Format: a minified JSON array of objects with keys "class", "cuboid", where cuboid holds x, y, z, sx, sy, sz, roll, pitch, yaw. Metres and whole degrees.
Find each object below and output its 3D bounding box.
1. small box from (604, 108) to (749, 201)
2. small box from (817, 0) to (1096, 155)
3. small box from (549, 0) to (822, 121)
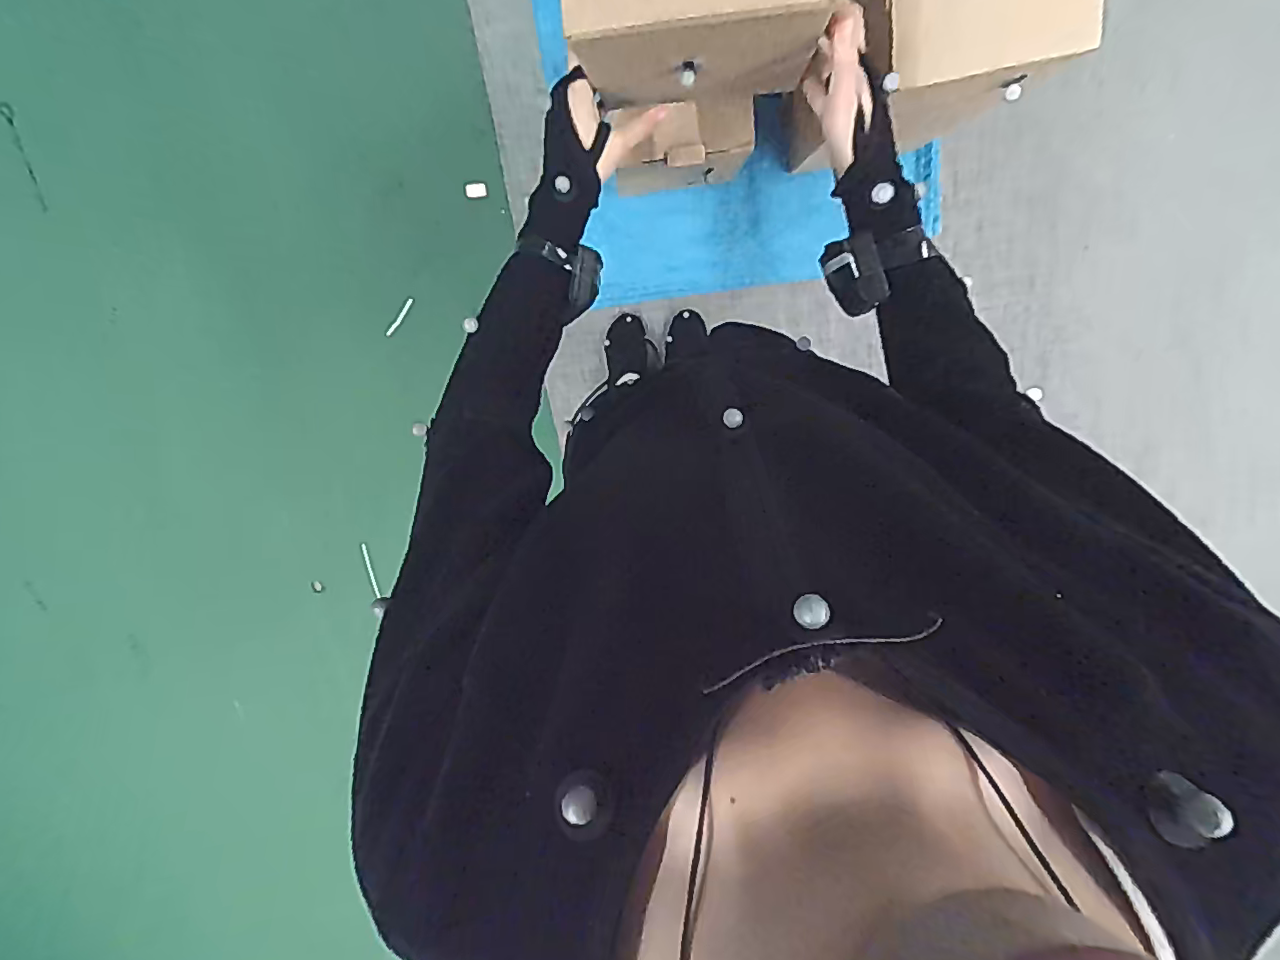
[{"class":"small box","cuboid":[0.037,-0.463,0.679,0.168,0.176,0.179,-6,106,0]},{"class":"small box","cuboid":[0.283,-0.435,0.515,0.179,0.176,0.168,-9,106,3]},{"class":"small box","cuboid":[0.033,-0.389,0.398,0.179,0.176,0.168,-1,108,8]}]
